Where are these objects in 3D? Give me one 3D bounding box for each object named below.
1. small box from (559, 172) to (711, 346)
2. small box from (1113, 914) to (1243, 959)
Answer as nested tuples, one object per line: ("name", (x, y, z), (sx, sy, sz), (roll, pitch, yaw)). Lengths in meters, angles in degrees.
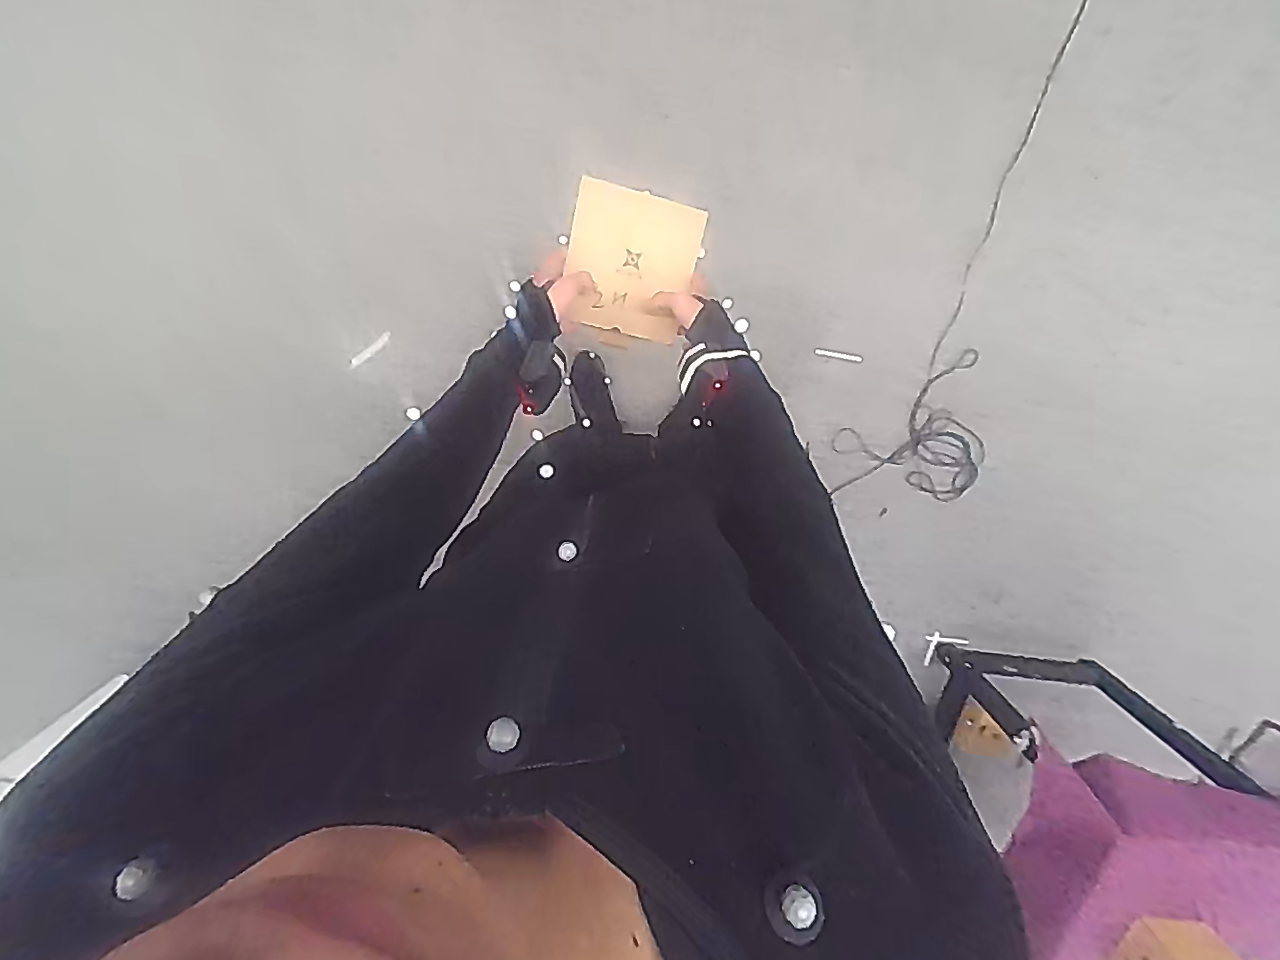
("small box", (-0.017, -0.306, 0.768), (0.168, 0.176, 0.179), (12, 110, -10))
("small box", (1.224, 1.106, 1.195), (0.179, 0.176, 0.168), (8, 108, -4))
